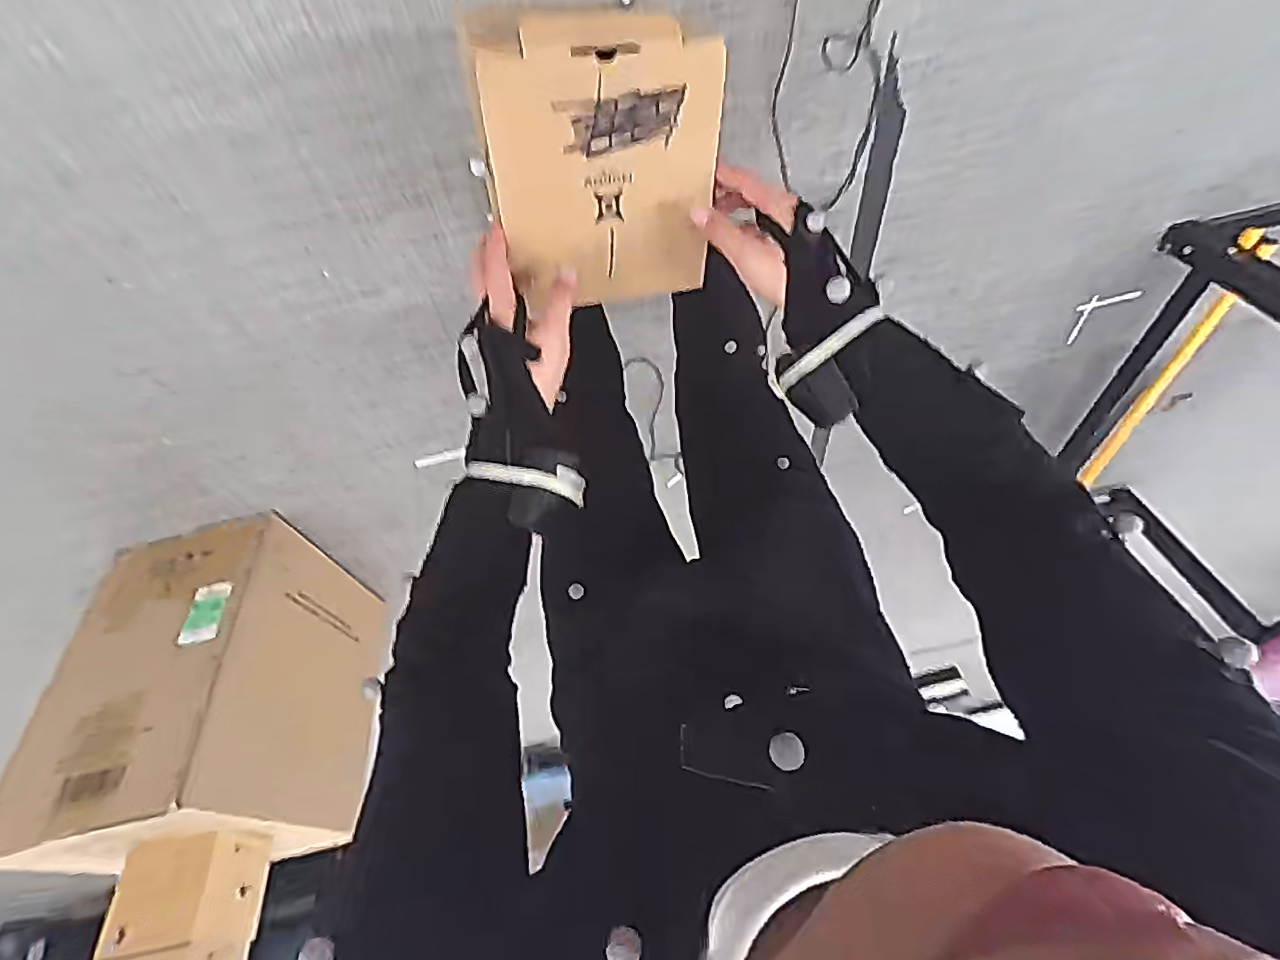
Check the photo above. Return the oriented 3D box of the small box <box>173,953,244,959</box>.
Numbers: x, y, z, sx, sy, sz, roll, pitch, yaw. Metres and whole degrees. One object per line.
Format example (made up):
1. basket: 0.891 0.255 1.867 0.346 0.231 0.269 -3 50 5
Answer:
1. small box: -0.822 0.923 0.911 0.179 0.176 0.168 -11 142 -3

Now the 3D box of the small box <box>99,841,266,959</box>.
1. small box: -0.844 0.798 1.017 0.179 0.176 0.168 -12 141 -1

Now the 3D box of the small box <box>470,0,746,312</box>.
1. small box: -0.034 -0.265 0.437 0.168 0.176 0.179 -12 140 -11
